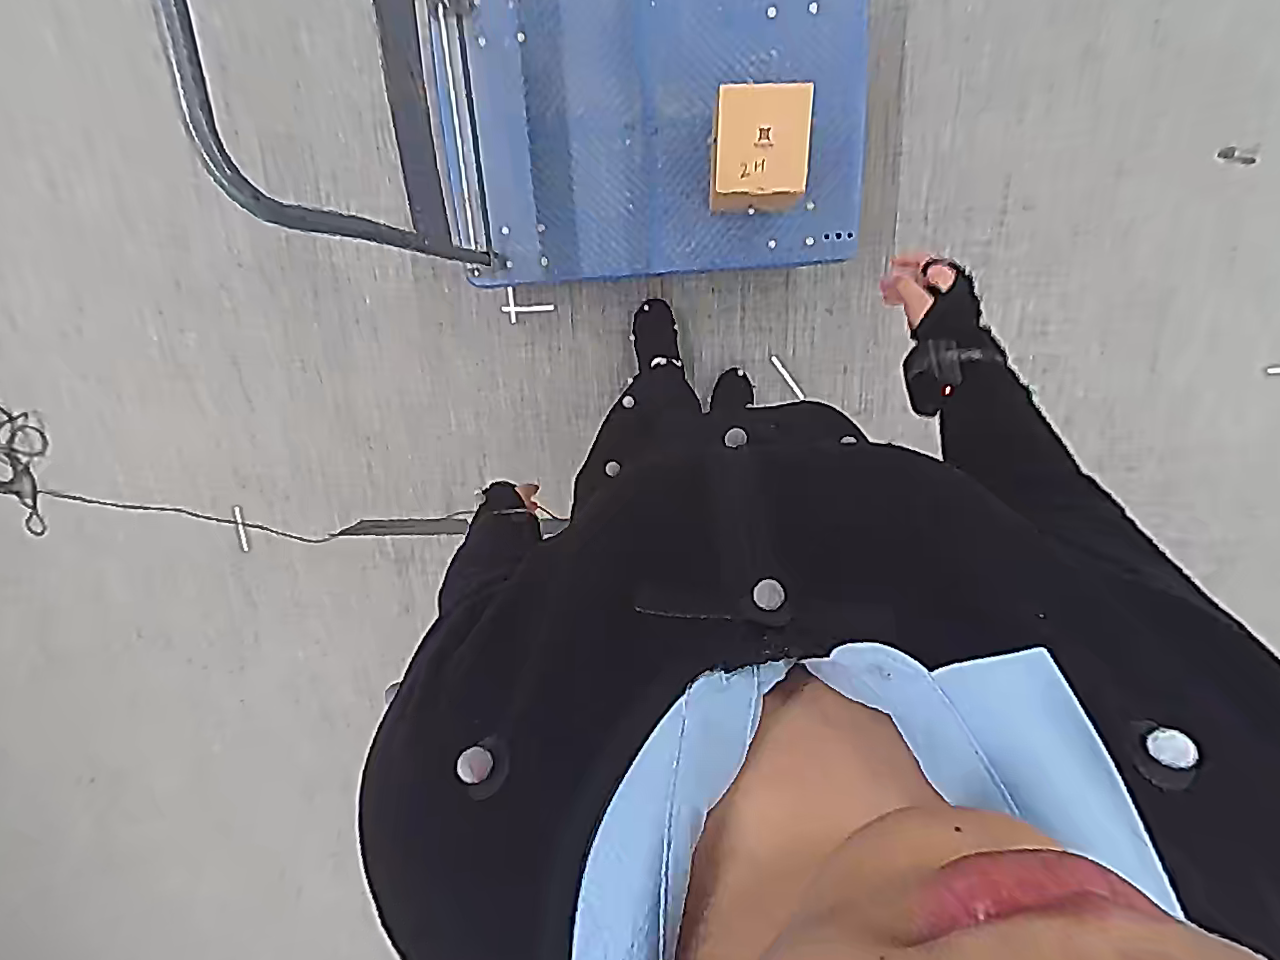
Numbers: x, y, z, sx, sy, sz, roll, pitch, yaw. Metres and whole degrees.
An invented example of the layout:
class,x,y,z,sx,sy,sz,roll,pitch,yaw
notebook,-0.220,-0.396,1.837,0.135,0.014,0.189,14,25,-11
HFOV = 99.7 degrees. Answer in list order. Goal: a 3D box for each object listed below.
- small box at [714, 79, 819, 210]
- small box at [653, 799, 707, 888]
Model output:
class,x,y,z,sx,sy,sz,roll,pitch,yaw
small box,0.234,-0.636,1.041,0.168,0.176,0.179,1,106,3
small box,0.130,1.171,1.746,0.168,0.176,0.179,-3,105,3
